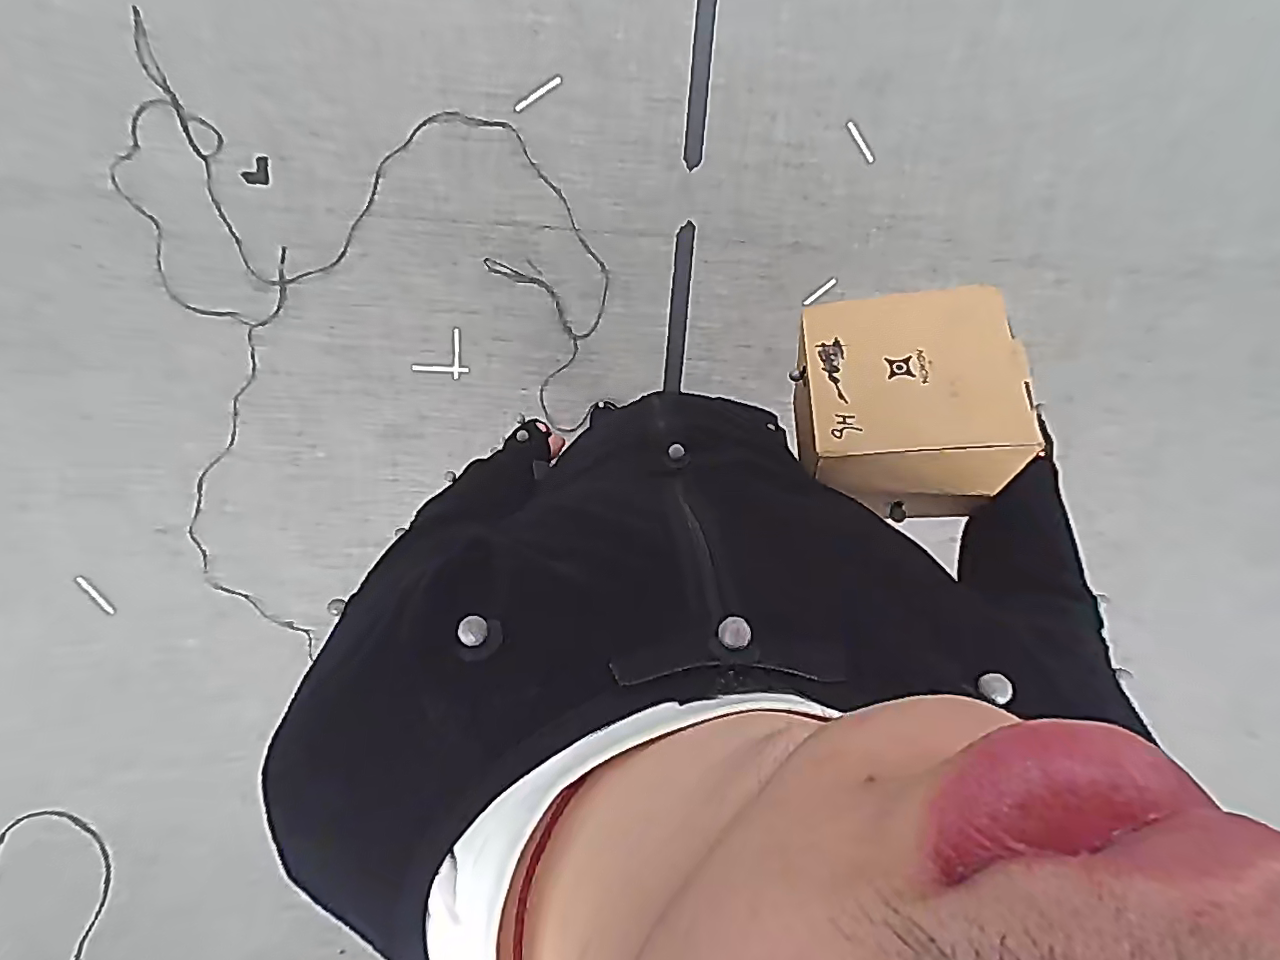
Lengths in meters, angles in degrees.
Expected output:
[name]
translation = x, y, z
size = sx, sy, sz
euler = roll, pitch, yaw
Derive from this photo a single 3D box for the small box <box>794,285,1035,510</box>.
[small box]
translation = 0.260, -0.073, 0.563
size = 0.179, 0.176, 0.168
euler = -3, 66, 12
